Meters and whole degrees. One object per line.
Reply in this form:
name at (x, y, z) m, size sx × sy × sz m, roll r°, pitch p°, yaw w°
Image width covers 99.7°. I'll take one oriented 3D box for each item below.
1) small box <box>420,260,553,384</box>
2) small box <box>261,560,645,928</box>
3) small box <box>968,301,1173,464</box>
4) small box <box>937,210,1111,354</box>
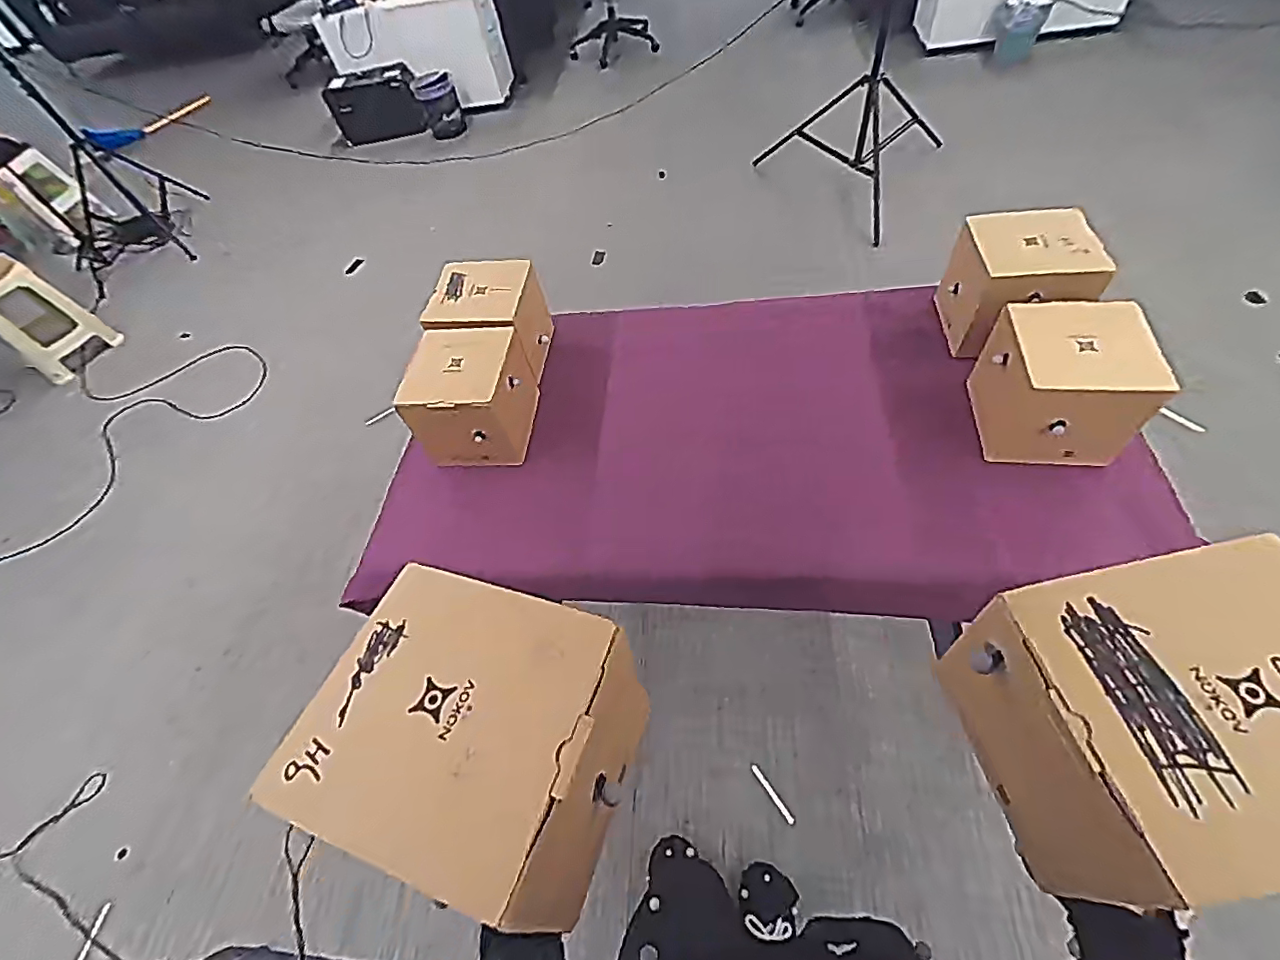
small box at (-0.285, -0.300, 1.046) m, size 0.179 × 0.176 × 0.168 m, roll 2°, pitch 59°, yaw 9°
small box at (-0.105, 0.188, 0.395) m, size 0.179 × 0.176 × 0.168 m, roll 13°, pitch 54°, yaw 17°
small box at (0.613, -0.140, 0.800) m, size 0.168 × 0.176 × 0.179 m, roll 3°, pitch 56°, yaw 12°
small box at (0.628, -0.329, 0.918) m, size 0.179 × 0.176 × 0.168 m, roll 0°, pitch 57°, yaw 9°
